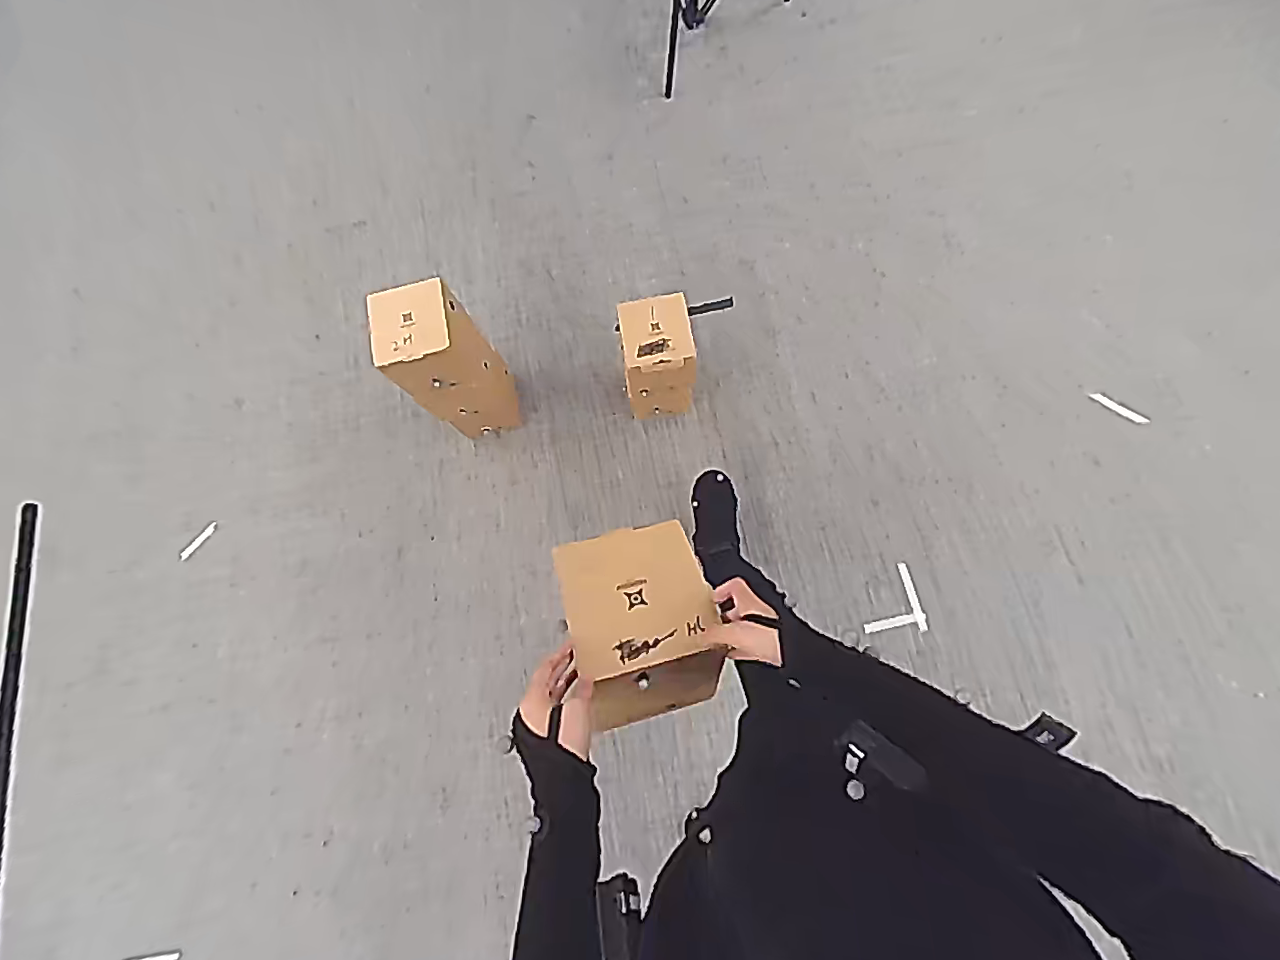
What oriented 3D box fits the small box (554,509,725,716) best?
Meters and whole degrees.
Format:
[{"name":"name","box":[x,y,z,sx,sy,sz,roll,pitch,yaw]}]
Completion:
[{"name":"small box","box":[-0.009,0.166,0.679,0.168,0.176,0.179,-11,49,-11]}]

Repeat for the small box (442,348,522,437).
[{"name":"small box","box":[-0.445,-0.241,1.524,0.168,0.176,0.179,-13,75,1]}]

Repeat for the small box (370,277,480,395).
[{"name":"small box","box":[-0.473,-0.315,1.206,0.168,0.176,0.179,-13,76,2]}]

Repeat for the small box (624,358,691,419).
[{"name":"small box","box":[0.046,-0.288,1.504,0.168,0.176,0.179,-9,76,1]}]

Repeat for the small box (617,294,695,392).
[{"name":"small box","box":[0.042,-0.330,1.345,0.168,0.176,0.179,-9,75,1]}]
